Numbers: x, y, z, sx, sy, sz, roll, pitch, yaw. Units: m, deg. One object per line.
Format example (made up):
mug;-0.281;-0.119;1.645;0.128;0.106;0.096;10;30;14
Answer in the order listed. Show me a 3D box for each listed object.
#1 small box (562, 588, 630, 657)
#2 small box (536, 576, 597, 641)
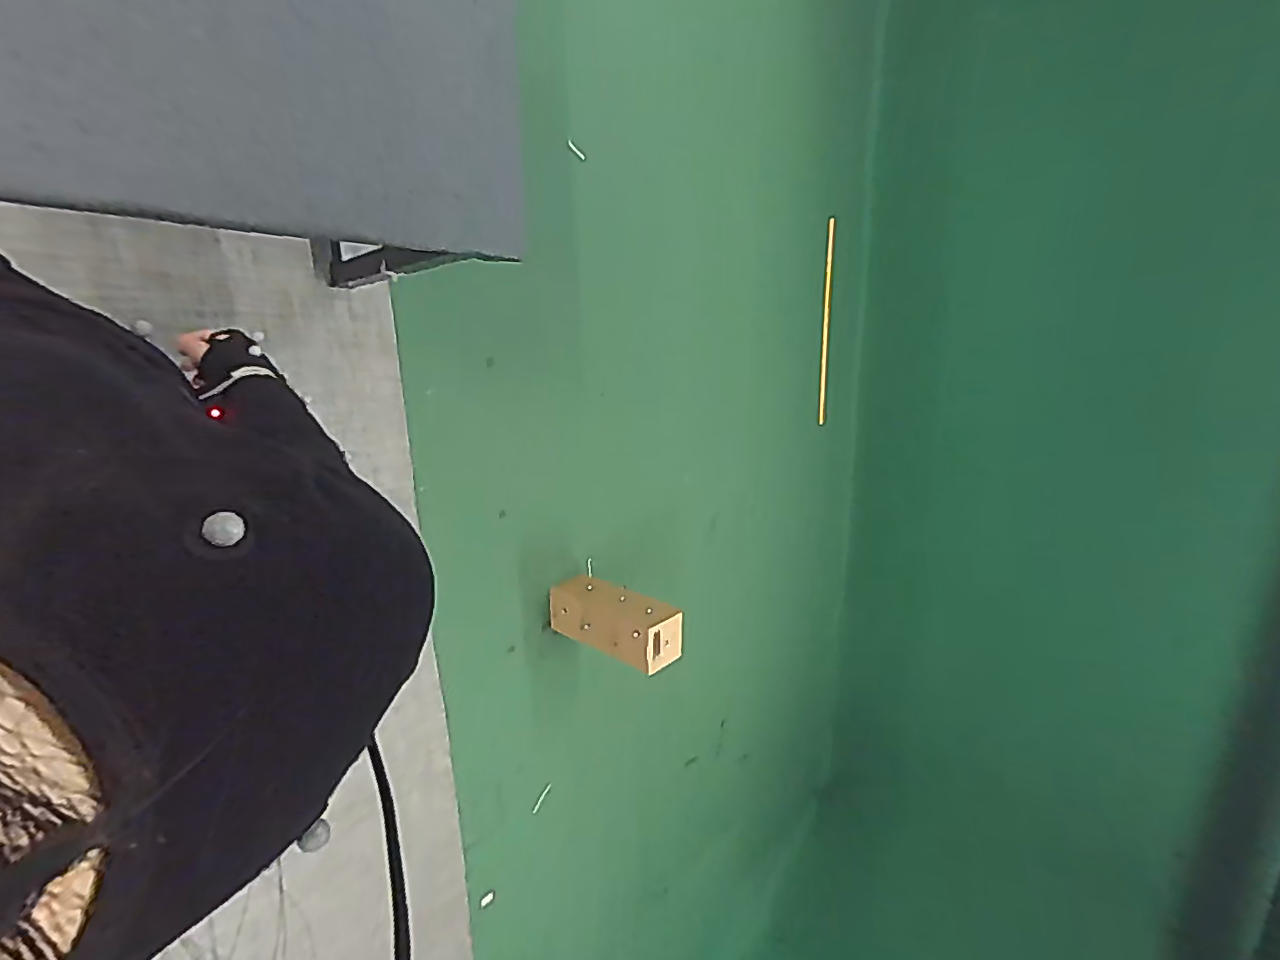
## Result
small box;-0.156;0.498;1.924;0.179;0.176;0.168;-11;106;-48
small box;-0.280;0.477;2.031;0.179;0.176;0.168;-15;109;-48
